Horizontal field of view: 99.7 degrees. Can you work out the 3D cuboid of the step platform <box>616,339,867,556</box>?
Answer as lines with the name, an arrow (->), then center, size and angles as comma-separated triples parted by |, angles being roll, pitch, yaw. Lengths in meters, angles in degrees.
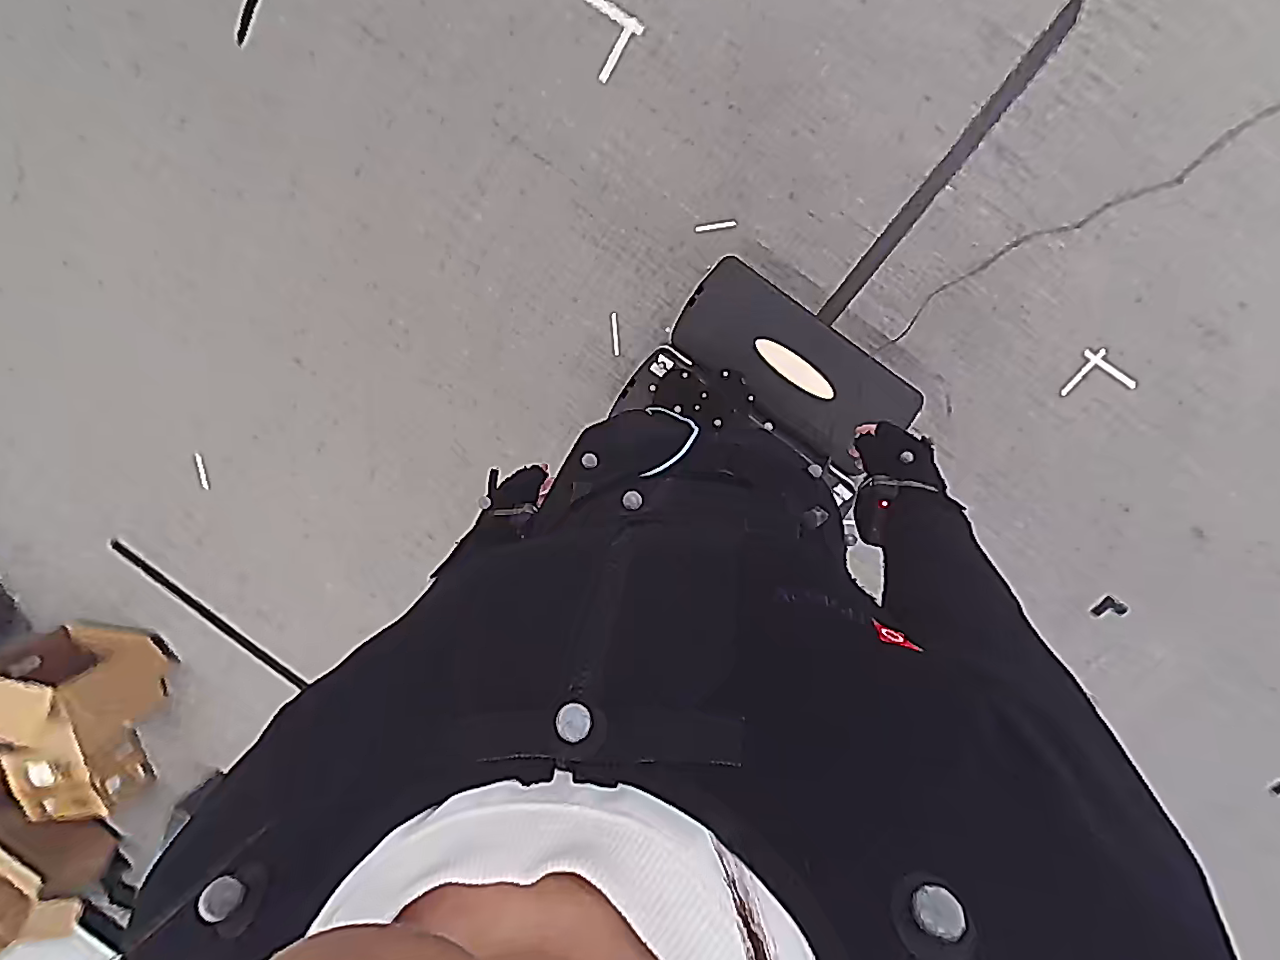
step platform -> 0.272, -0.092, 1.495 | 0.684, 0.204, 0.286 | 36, 106, 2
